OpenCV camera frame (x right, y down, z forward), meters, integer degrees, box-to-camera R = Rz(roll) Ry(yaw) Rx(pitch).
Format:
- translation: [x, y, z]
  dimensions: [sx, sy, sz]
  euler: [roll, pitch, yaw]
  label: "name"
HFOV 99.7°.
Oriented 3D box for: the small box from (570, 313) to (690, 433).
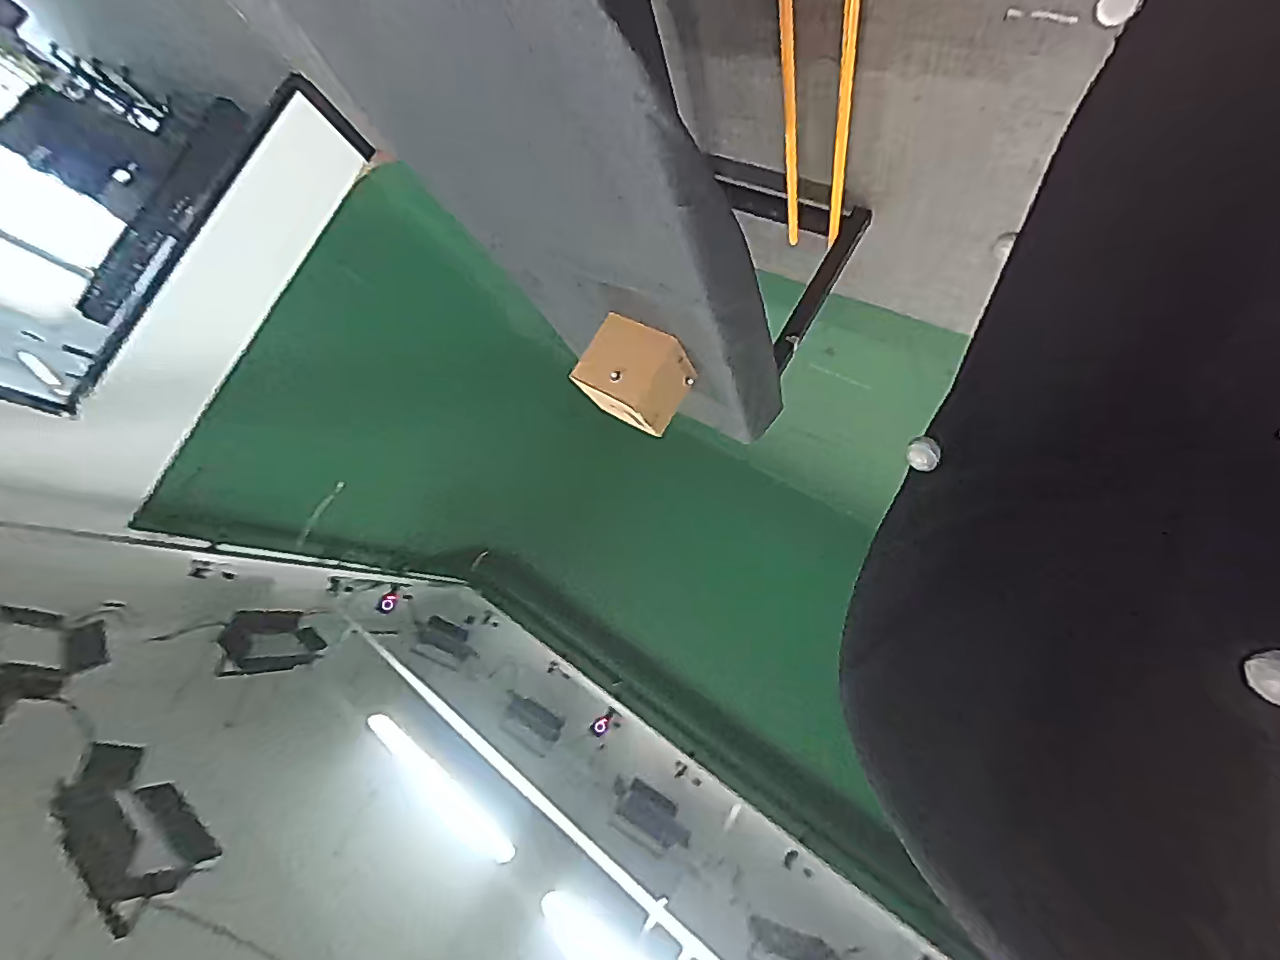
- translation: [-0.011, -0.232, 1.163]
  dimensions: [0.179, 0.176, 0.168]
  euler: [30, 176, 26]
  label: "small box"
